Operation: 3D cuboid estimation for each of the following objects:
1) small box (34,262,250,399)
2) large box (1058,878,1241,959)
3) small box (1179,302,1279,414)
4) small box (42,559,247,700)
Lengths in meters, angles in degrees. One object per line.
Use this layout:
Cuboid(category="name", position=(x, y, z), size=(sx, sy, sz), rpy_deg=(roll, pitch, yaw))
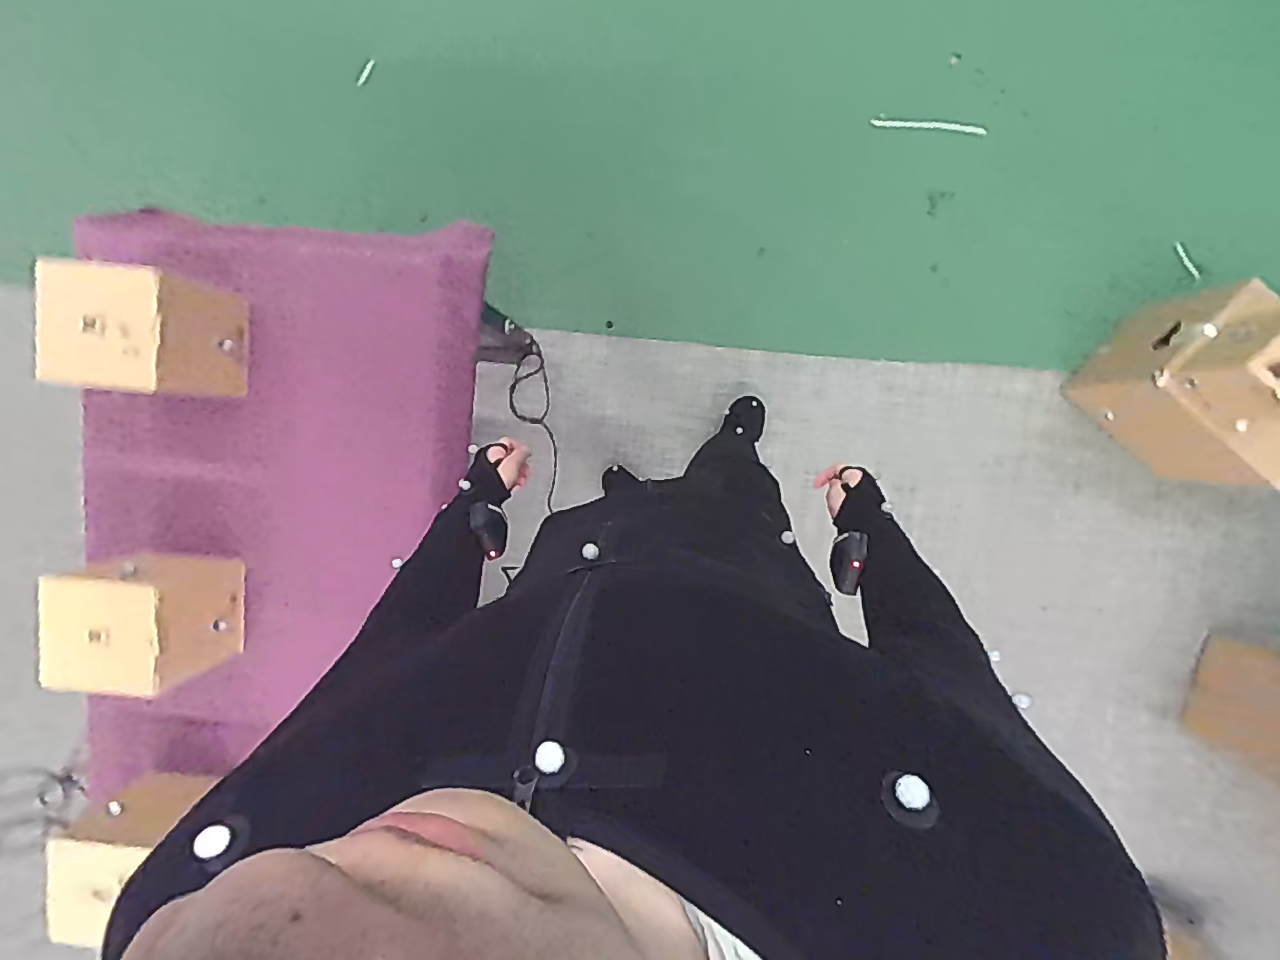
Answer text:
Cuboid(category="small box", position=(-0.737, -0.214, 0.815), size=(0.179, 0.176, 0.168), rpy_deg=(5, 96, 1))
Cuboid(category="large box", position=(1.501, 1.484, 1.543), size=(0.320, 0.320, 0.408), rpy_deg=(28, 94, -1))
Cuboid(category="small box", position=(1.329, -0.255, 1.158), size=(0.168, 0.176, 0.179), rpy_deg=(44, 95, -3))
Cuboid(category="small box", position=(-0.770, 0.224, 0.855), size=(0.179, 0.176, 0.168), rpy_deg=(4, 94, 1))
